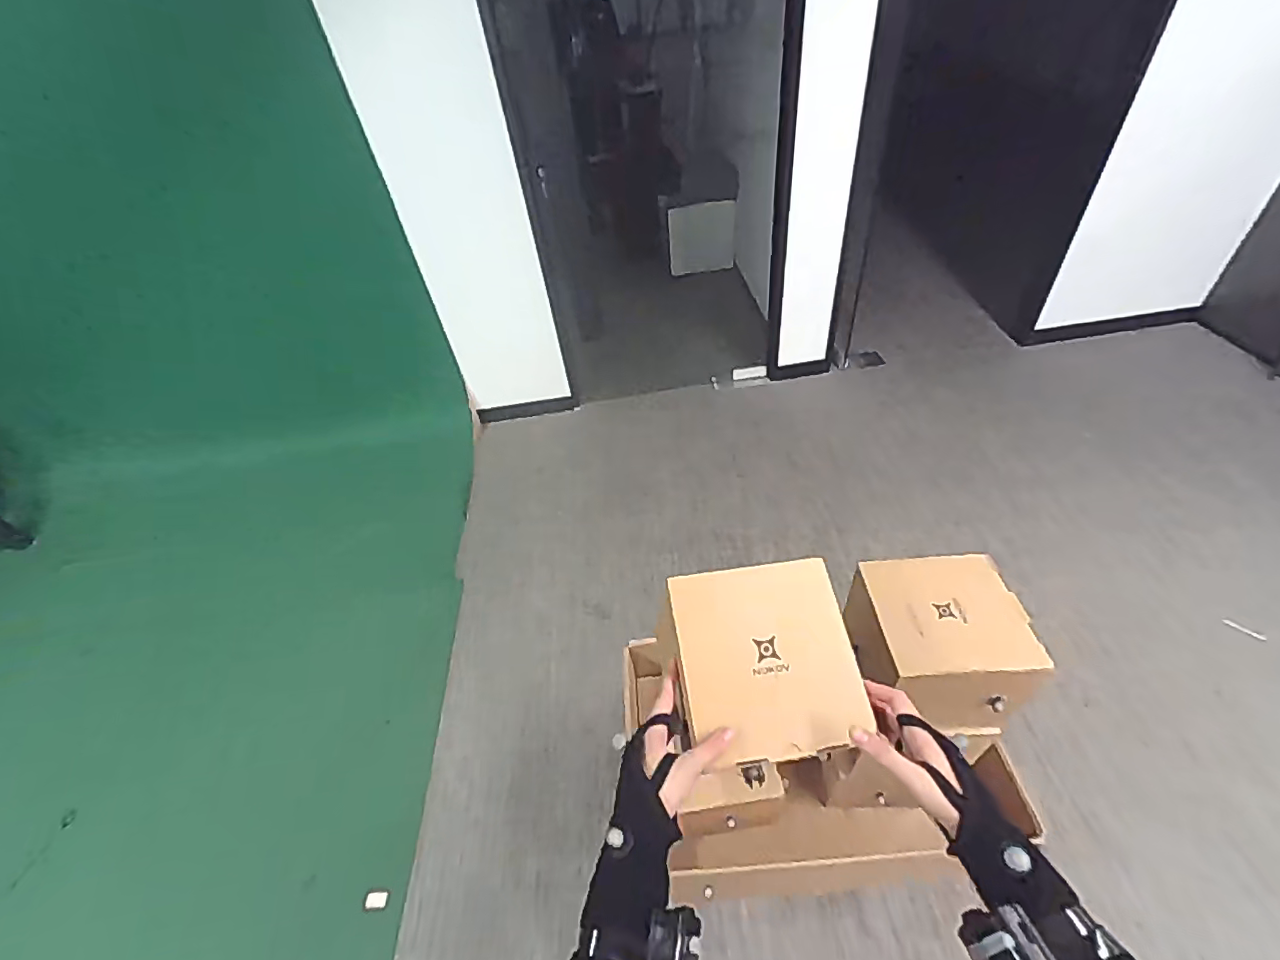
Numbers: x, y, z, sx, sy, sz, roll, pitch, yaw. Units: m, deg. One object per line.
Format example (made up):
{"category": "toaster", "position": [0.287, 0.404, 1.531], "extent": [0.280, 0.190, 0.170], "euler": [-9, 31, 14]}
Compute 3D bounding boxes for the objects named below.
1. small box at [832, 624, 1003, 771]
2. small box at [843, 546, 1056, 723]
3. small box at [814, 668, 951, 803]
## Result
{"category": "small box", "position": [0.402, 0.330, 0.826], "extent": [0.179, 0.176, 0.168], "euler": [-4, 44, 5]}
{"category": "small box", "position": [0.389, 0.207, 0.719], "extent": [0.179, 0.176, 0.168], "euler": [-5, 44, 5]}
{"category": "small box", "position": [0.408, 0.446, 0.943], "extent": [0.168, 0.176, 0.179], "euler": [-3, 44, 6]}
